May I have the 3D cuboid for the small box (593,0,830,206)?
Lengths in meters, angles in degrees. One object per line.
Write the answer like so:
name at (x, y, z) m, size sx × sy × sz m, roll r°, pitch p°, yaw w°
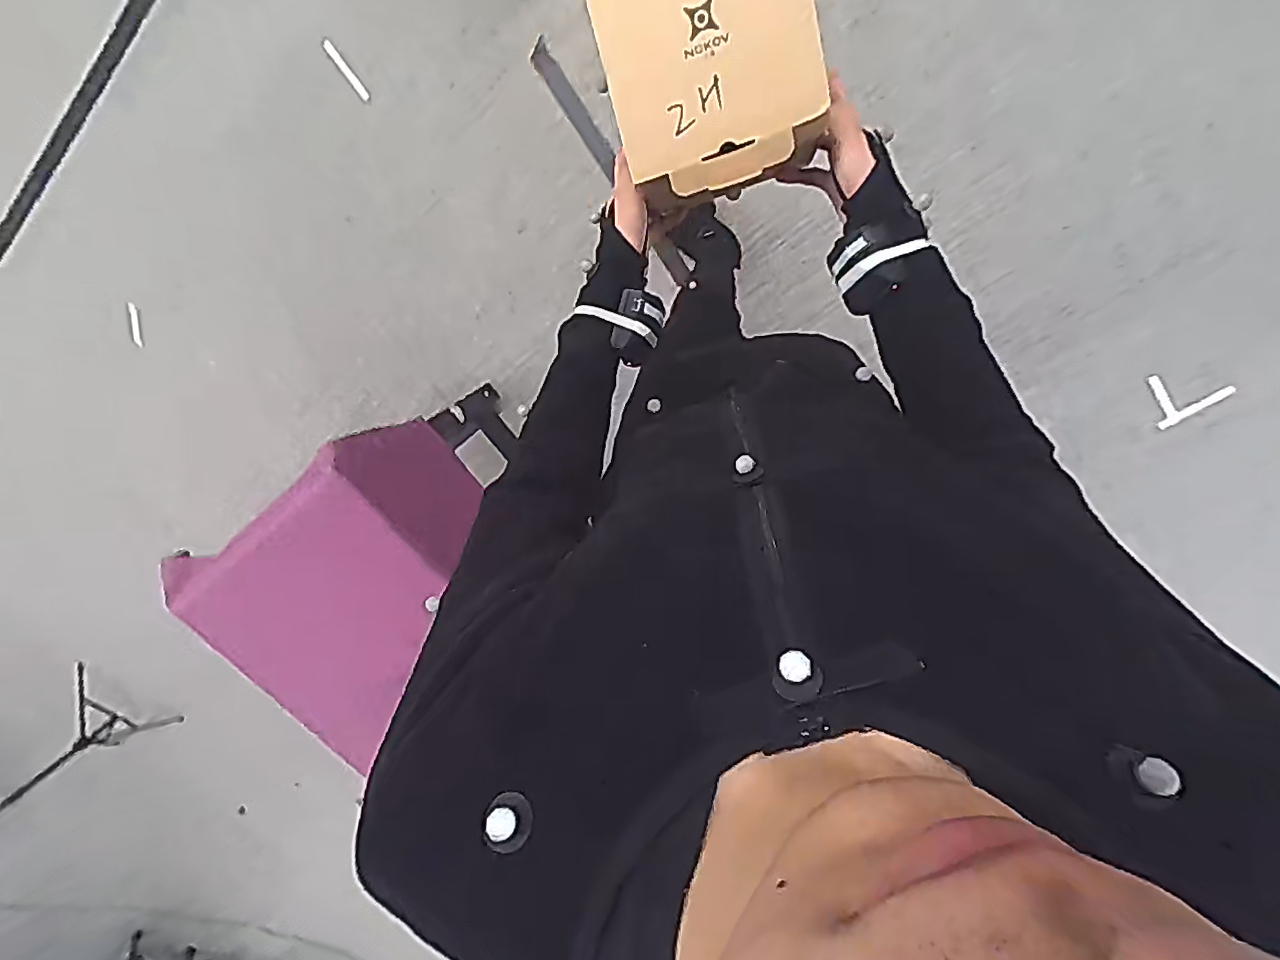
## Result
small box at (0.064, -0.377, 0.492) m, size 0.168 × 0.176 × 0.179 m, roll -11°, pitch 105°, yaw 15°
